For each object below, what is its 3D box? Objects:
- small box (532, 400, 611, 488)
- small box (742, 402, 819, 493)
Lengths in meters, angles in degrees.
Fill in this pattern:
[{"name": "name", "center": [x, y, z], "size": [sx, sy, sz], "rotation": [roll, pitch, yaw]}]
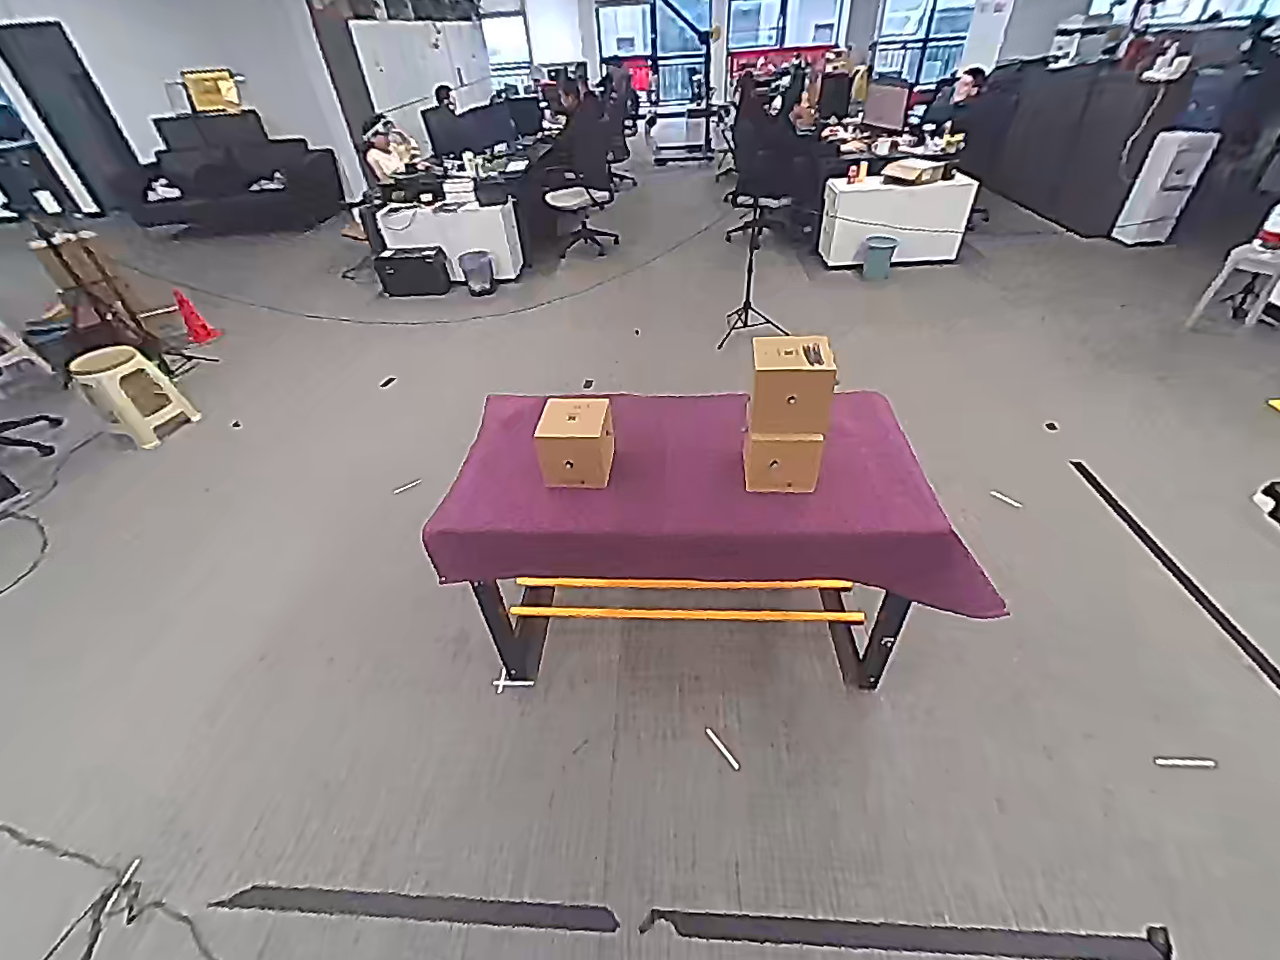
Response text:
[{"name": "small box", "center": [-0.170, -0.094, 1.420], "size": [0.168, 0.176, 0.179], "rotation": [2, 40, 6]}, {"name": "small box", "center": [0.347, -0.080, 1.365], "size": [0.168, 0.176, 0.179], "rotation": [1, 39, 6]}]
